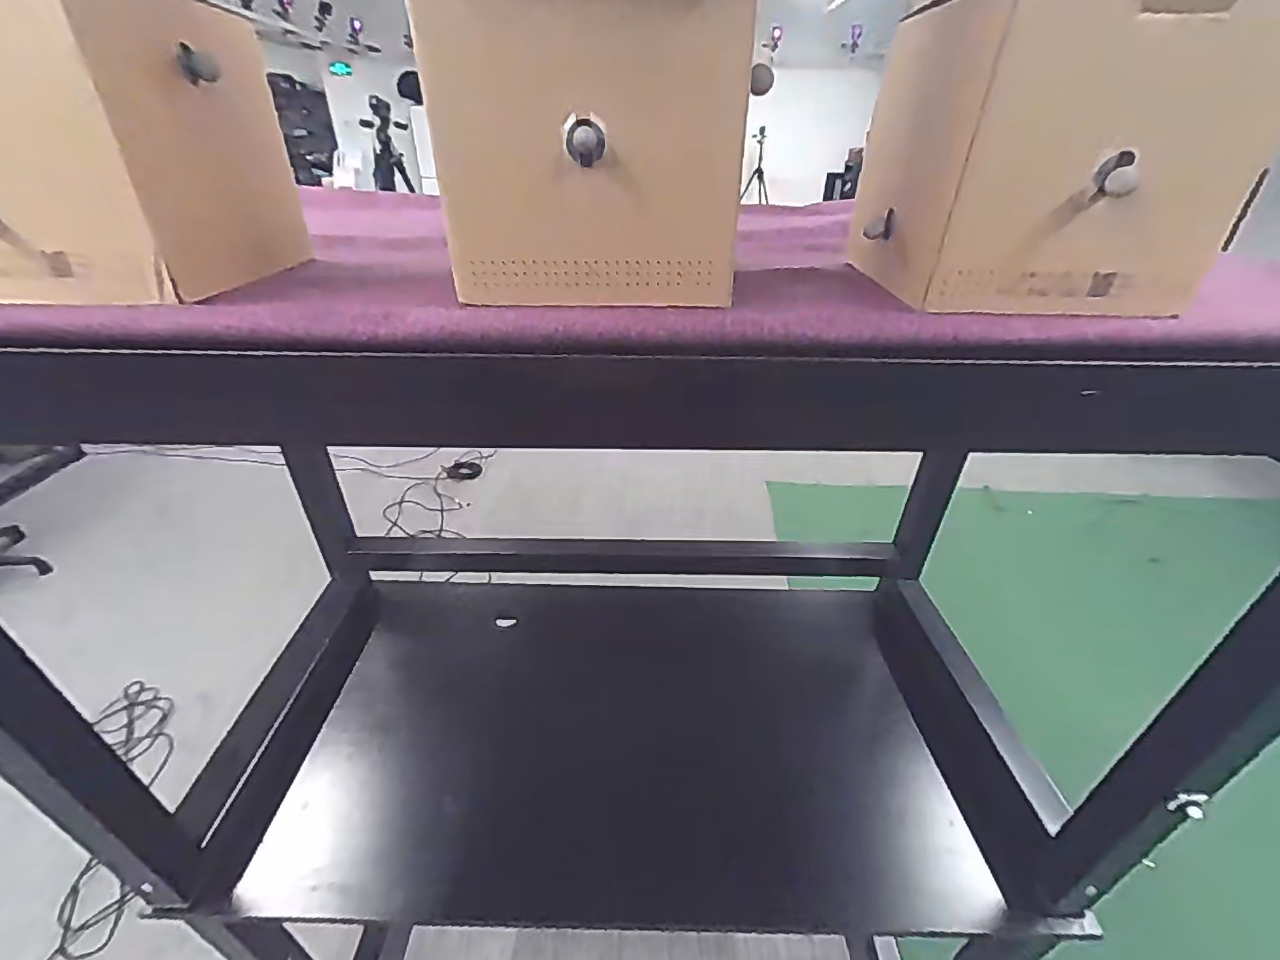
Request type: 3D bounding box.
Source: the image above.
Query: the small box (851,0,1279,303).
[{"bbox_3d":[0.263,-0.226,0.368,0.168,0.176,0.179,1,34,1],"label":"small box"}]

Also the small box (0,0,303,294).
[{"bbox_3d":[-0.353,-0.229,0.353,0.168,0.176,0.179,0,32,-4],"label":"small box"}]
